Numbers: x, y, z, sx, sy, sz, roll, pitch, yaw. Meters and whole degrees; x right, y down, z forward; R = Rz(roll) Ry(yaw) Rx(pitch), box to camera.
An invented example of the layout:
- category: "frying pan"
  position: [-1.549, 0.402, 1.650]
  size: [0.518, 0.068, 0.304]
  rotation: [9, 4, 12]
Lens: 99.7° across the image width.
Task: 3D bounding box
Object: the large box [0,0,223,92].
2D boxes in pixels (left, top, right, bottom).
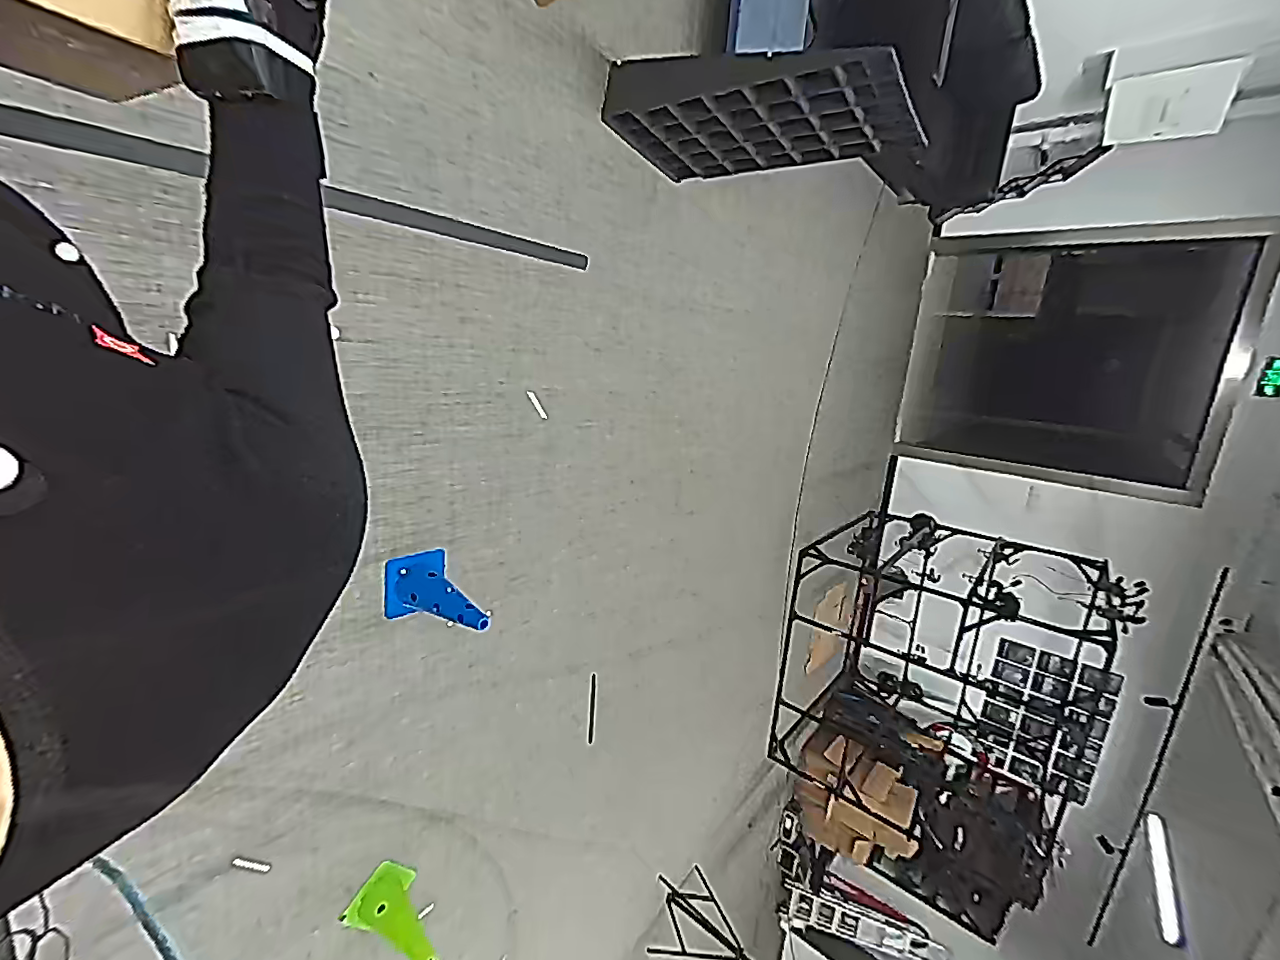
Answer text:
- category: "large box"
  position: [-0.508, -0.462, 0.268]
  size: [0.408, 0.320, 0.320]
  rotation: [-11, 118, -53]

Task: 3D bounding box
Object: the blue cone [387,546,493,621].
- category: "blue cone"
  position: [-0.584, 0.348, 1.628]
  size: [0.192, 0.380, 0.193]
  rotation: [-7, 108, -53]

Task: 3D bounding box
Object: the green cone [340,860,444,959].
- category: "green cone"
  position: [-0.761, 1.458, 1.757]
  size: [0.202, 0.368, 0.200]
  rotation: [-53, 139, -29]
